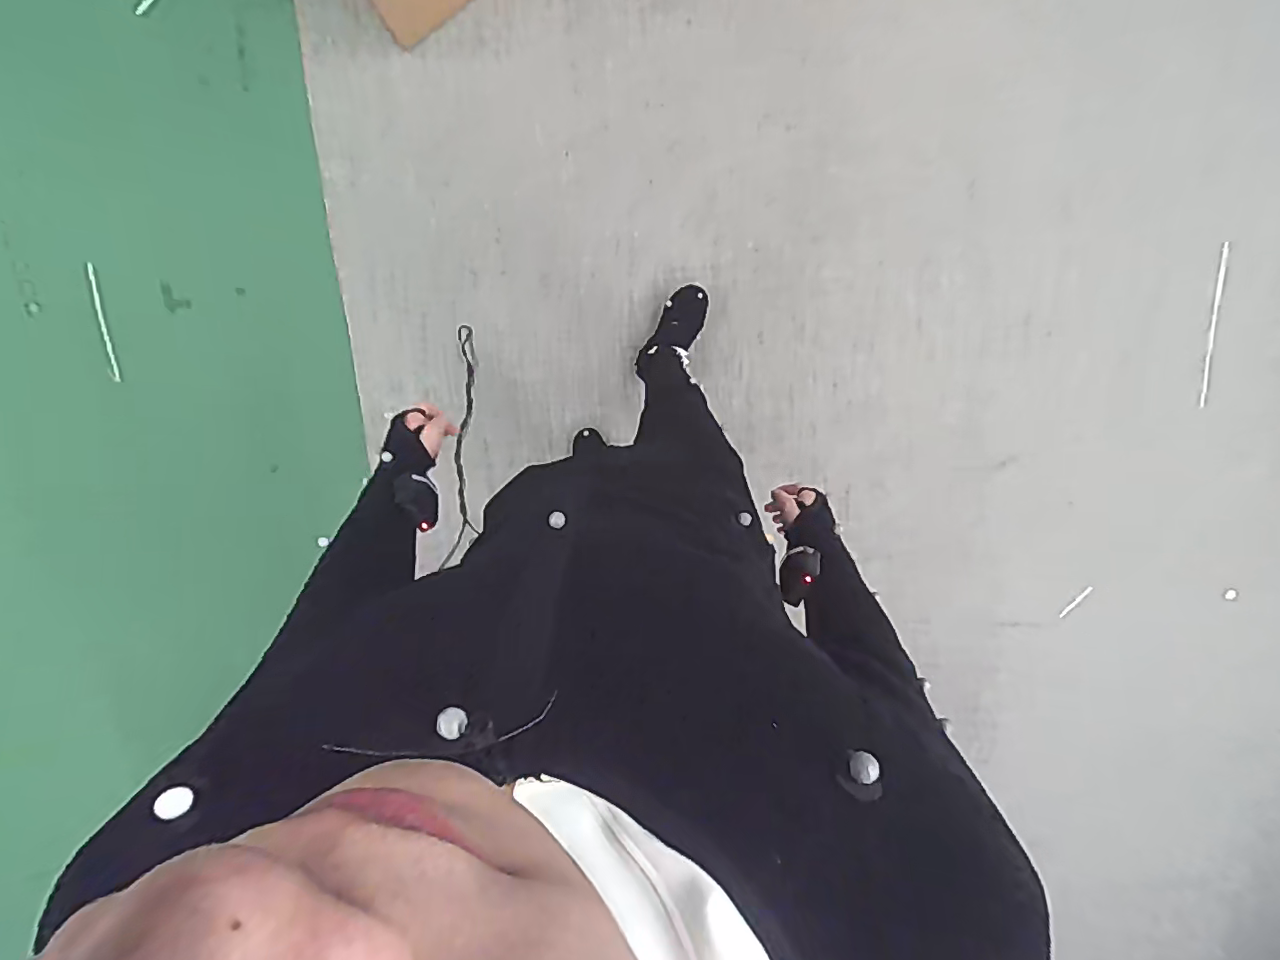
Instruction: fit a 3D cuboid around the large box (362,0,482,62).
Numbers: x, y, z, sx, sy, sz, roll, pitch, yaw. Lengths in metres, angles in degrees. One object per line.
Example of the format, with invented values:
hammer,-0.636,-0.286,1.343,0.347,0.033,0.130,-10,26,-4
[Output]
large box,-0.515,-1.267,1.194,0.408,0.320,0.320,-36,100,6
